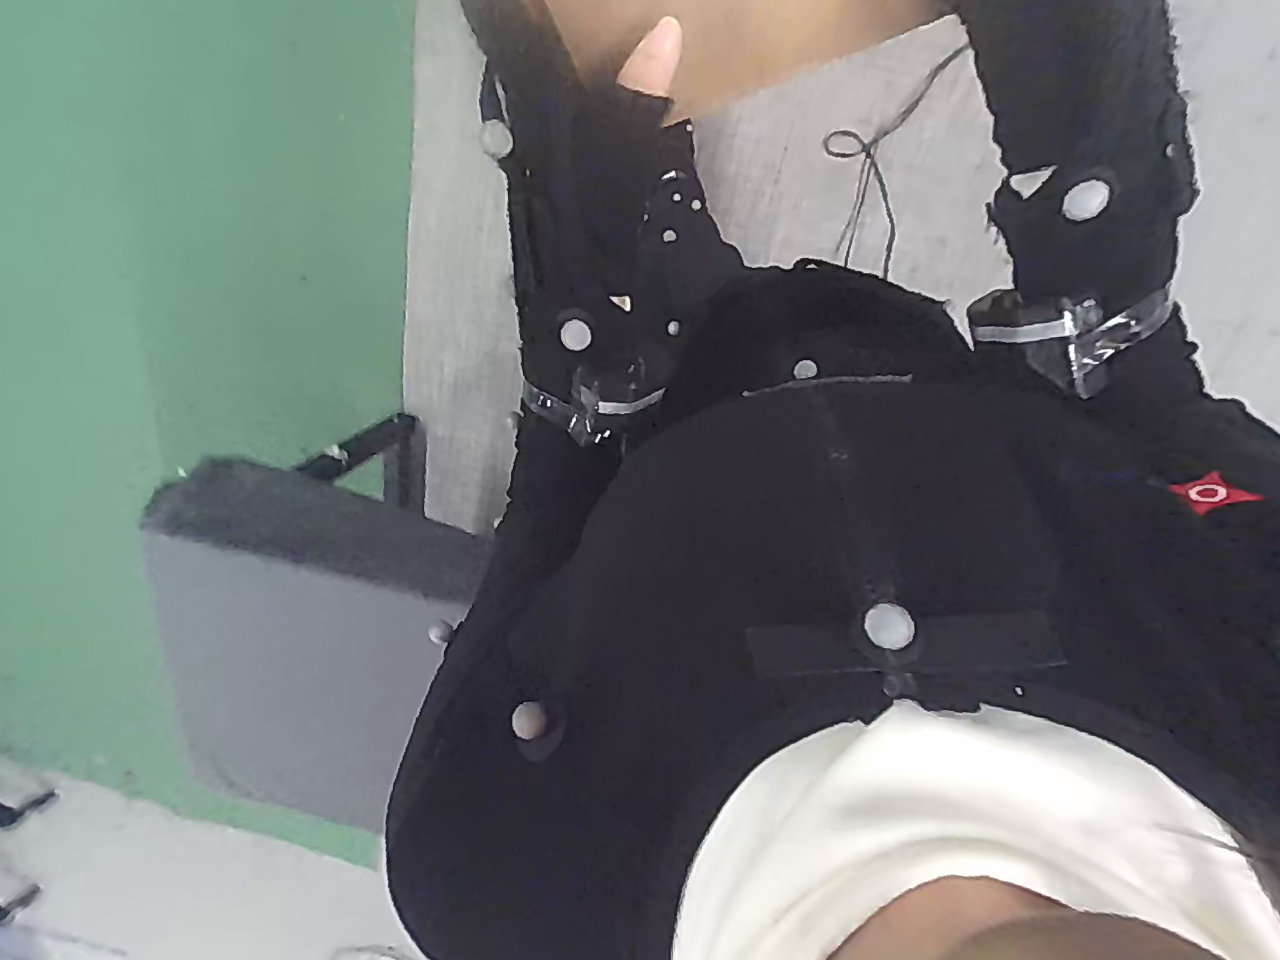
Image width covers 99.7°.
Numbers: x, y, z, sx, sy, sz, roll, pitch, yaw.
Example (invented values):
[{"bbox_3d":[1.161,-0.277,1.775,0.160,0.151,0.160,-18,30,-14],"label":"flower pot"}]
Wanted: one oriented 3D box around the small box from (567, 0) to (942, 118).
[{"bbox_3d":[0.037,-0.291,0.196,0.179,0.168,0.176,-10,71,16],"label":"small box"}]
